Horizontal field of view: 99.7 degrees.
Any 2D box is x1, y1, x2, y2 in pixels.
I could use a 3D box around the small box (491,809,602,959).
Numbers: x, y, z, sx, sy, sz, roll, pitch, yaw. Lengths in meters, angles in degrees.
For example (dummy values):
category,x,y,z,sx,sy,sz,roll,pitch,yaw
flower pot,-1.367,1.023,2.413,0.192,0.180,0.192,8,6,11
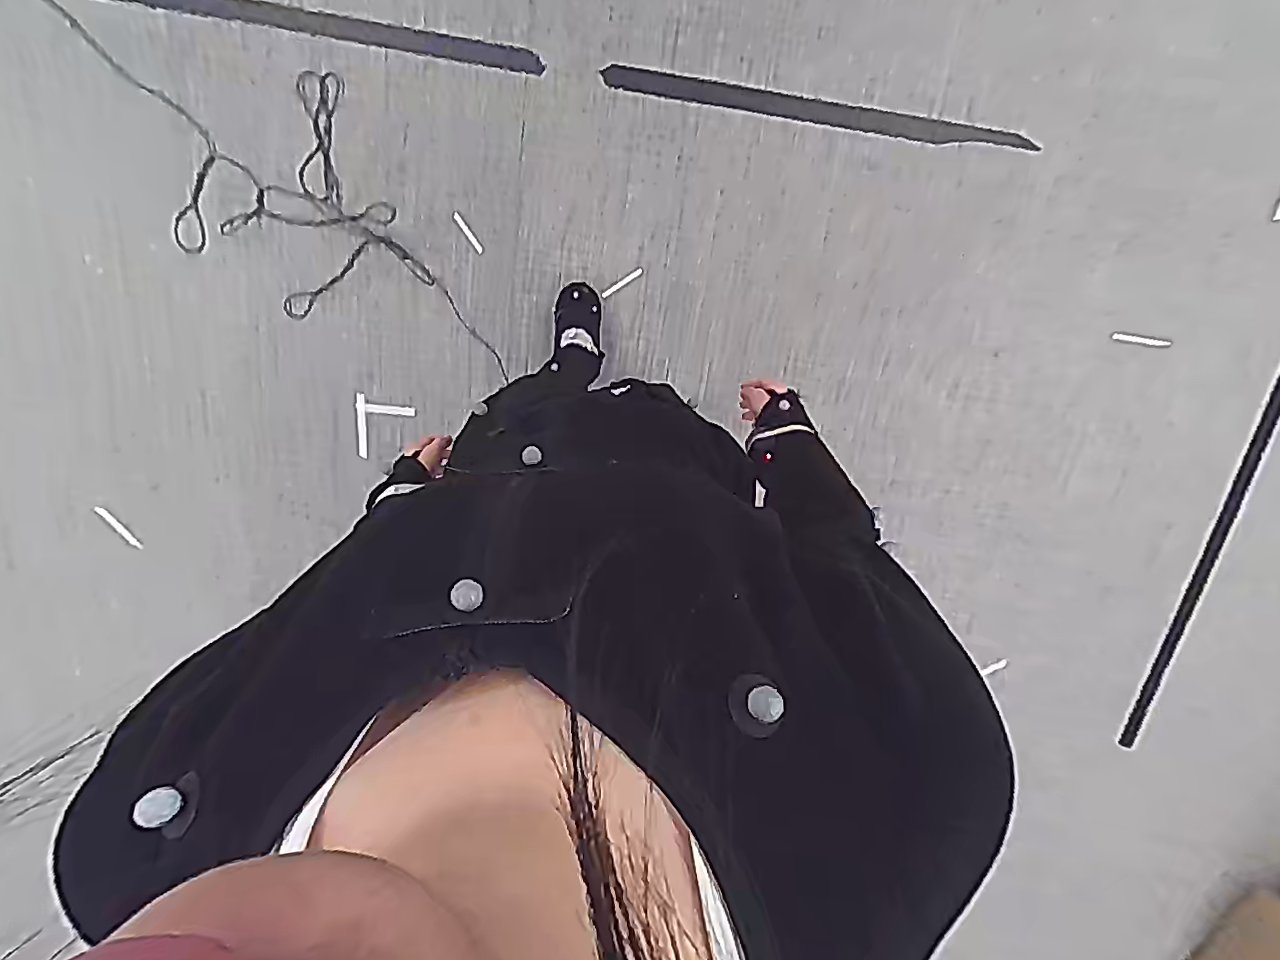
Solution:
category,x,y,z,sx,sy,sz,roll,pitch,yaw
small box,-0.167,0.761,1.015,0.168,0.176,0.179,11,105,-2
